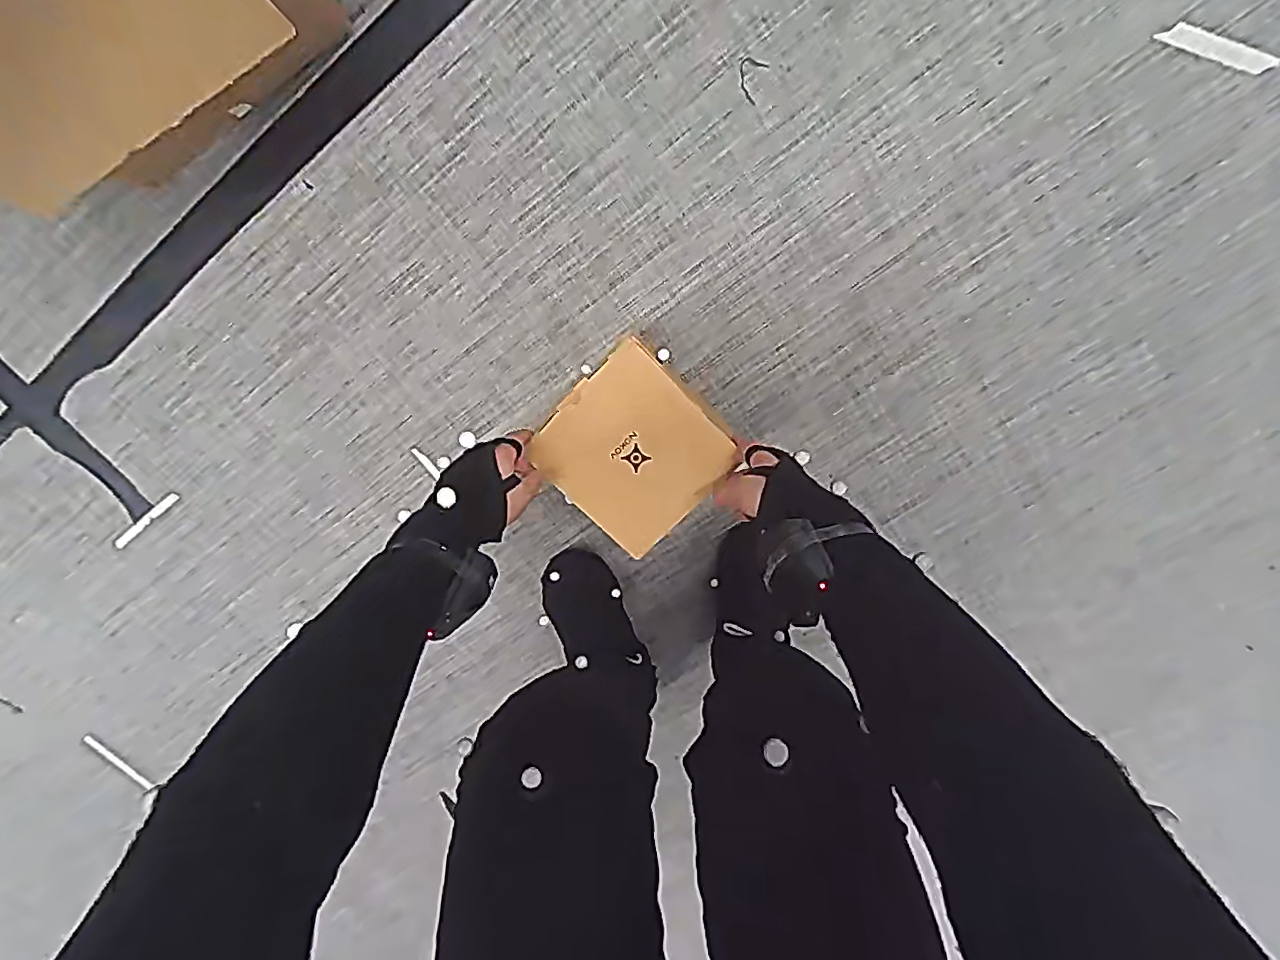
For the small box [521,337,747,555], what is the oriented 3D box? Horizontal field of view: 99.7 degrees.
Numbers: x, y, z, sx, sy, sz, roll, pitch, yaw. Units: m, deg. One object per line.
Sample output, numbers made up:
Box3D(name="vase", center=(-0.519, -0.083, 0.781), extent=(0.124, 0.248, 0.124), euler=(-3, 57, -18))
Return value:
Box3D(name="small box", center=(-0.004, -0.052, 0.628), extent=(0.179, 0.176, 0.168), euler=(43, 102, -10))
